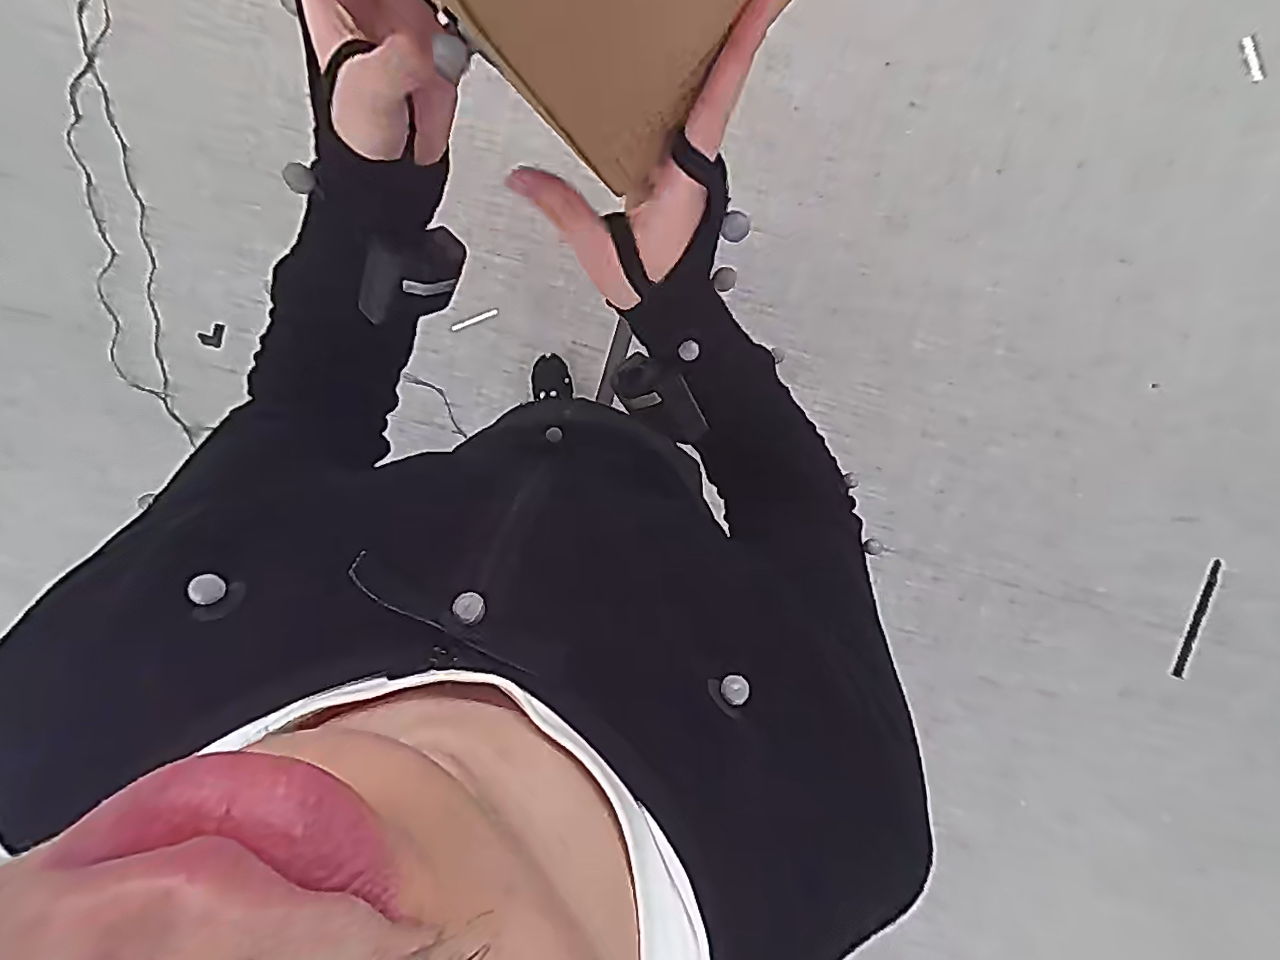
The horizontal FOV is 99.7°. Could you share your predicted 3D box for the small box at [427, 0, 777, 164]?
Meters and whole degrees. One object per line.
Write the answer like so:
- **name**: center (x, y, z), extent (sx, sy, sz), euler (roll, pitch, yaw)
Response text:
- **small box**: center (-0.029, -0.244, 0.180), extent (0.179, 0.176, 0.168), euler (46, 106, 1)
